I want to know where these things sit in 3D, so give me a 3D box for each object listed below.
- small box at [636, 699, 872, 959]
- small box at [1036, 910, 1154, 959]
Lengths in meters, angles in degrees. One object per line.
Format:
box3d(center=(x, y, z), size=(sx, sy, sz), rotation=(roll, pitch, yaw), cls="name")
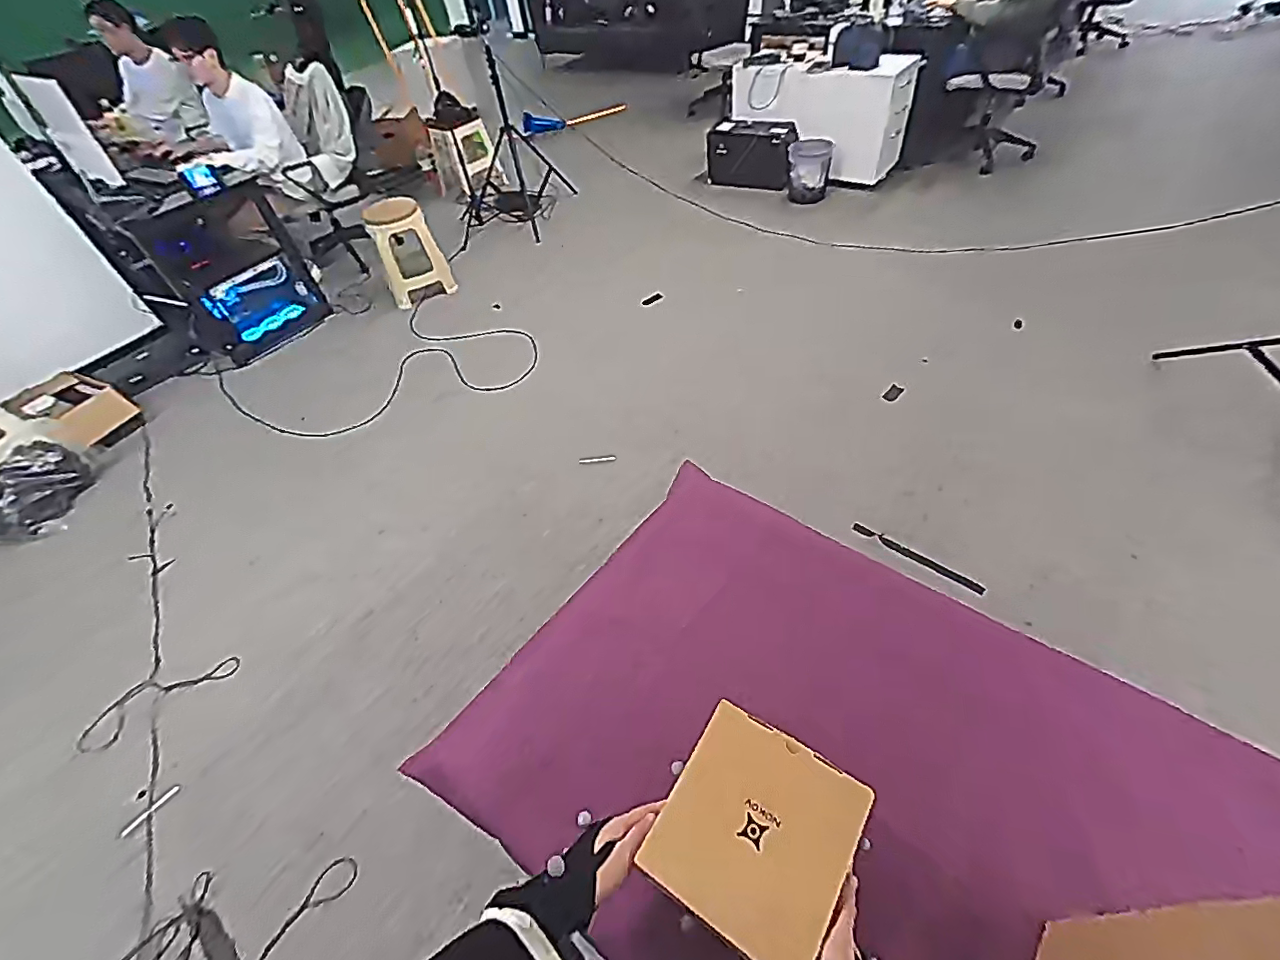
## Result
box3d(center=(0.118, 0.374, 0.563), size=(0.168, 0.176, 0.179), rotation=(23, 54, 25), cls="small box")
box3d(center=(0.415, 0.488, 0.419), size=(0.168, 0.176, 0.179), rotation=(31, 59, 30), cls="small box")
